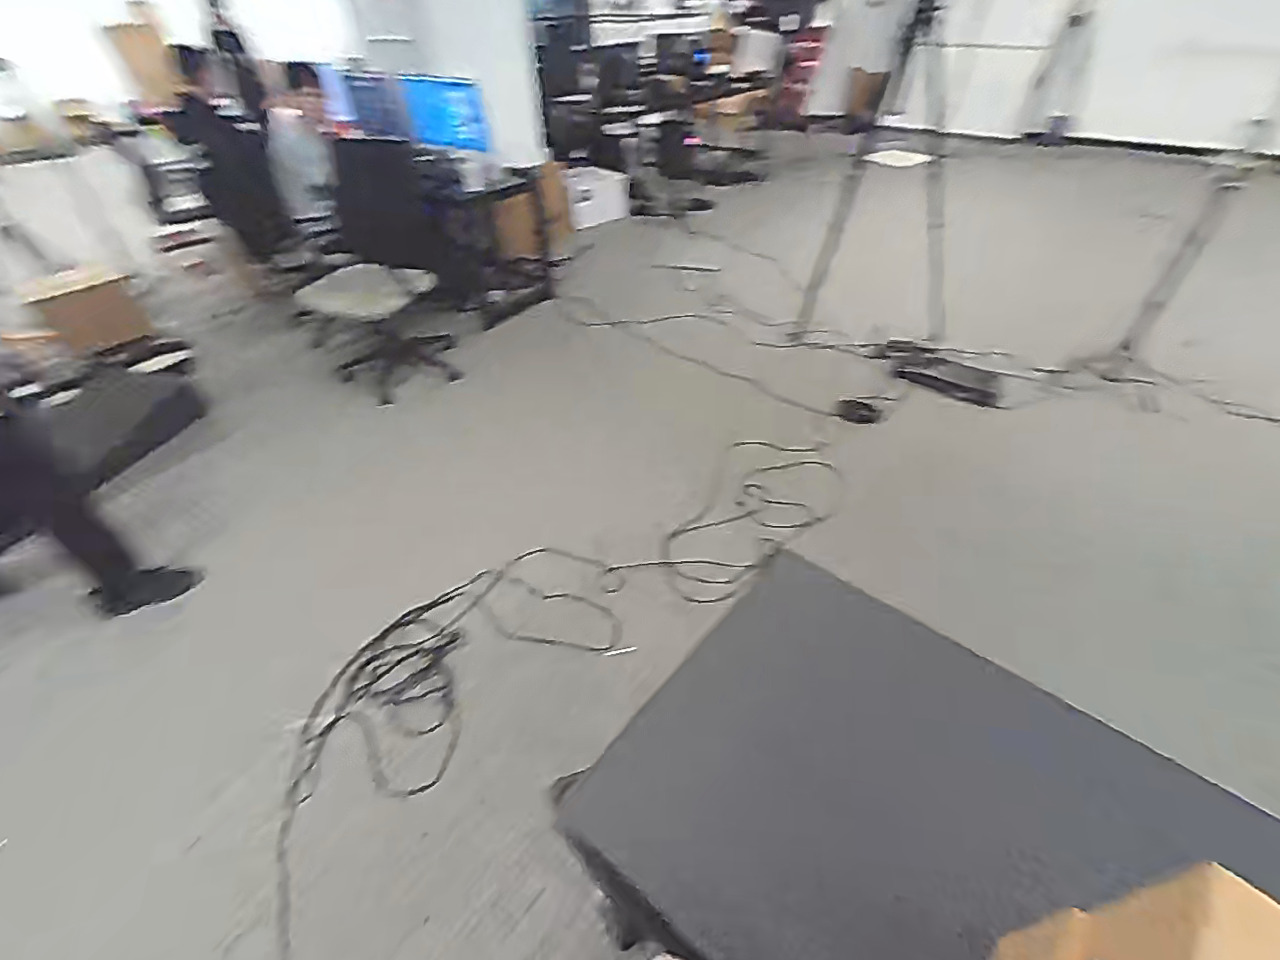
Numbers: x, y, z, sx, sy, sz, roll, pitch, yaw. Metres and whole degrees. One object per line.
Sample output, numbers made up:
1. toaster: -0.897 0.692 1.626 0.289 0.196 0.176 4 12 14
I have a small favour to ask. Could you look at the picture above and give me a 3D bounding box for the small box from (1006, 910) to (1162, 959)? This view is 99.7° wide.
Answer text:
1. small box: 0.398 0.516 0.445 0.179 0.176 0.168 -34 50 -31
